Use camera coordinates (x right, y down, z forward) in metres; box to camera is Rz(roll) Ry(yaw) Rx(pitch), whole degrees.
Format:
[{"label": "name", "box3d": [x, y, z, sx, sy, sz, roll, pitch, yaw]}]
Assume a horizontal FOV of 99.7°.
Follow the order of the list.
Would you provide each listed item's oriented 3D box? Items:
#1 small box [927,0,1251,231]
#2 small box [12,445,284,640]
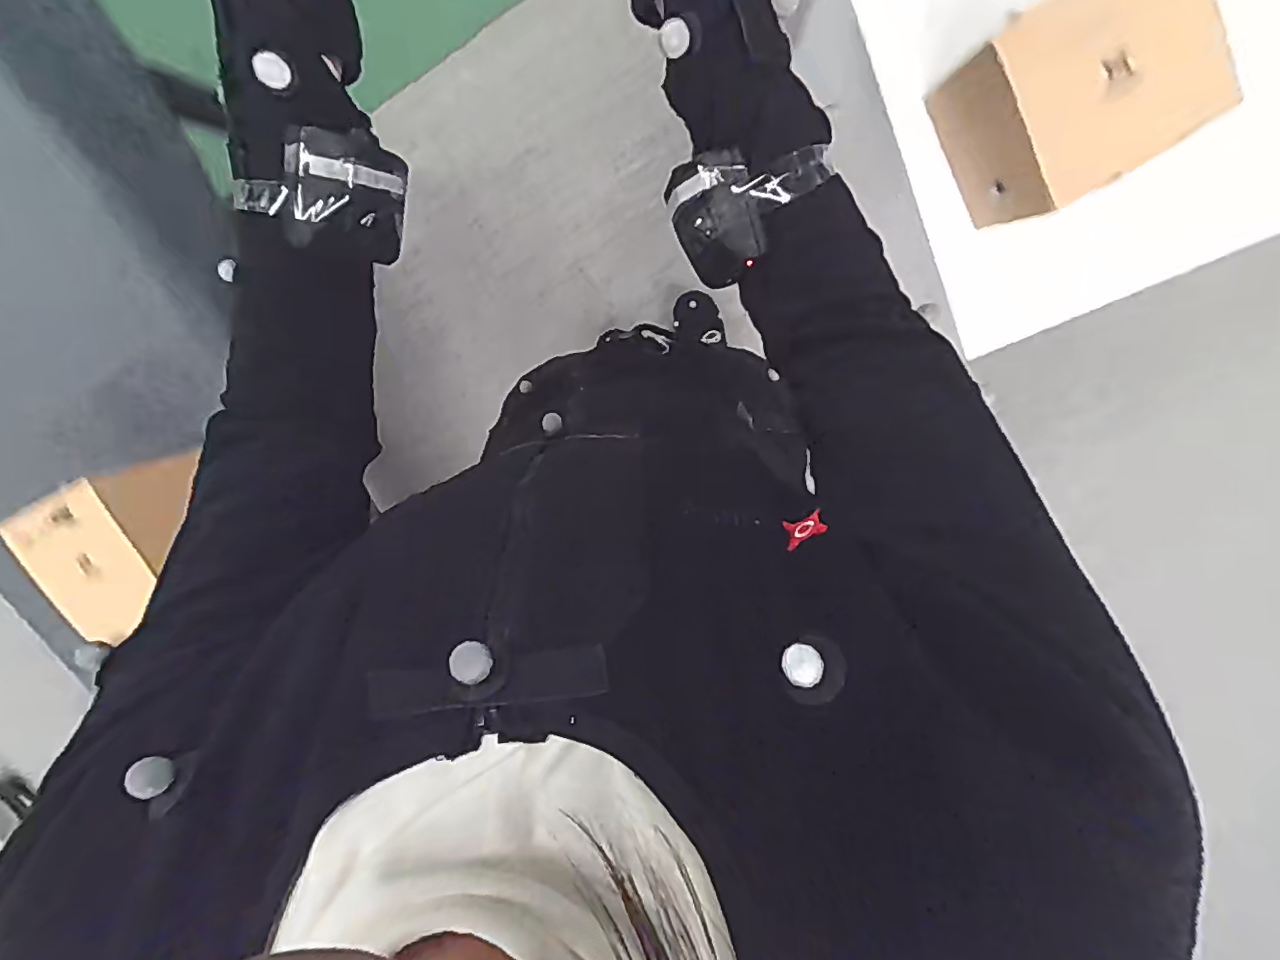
[{"label": "small box", "box3d": [0.431, -0.378, 0.551, 0.168, 0.176, 0.179, -29, 102, 15]}, {"label": "small box", "box3d": [-0.629, 0.075, 0.718, 0.168, 0.176, 0.179, -21, 105, 15]}]
